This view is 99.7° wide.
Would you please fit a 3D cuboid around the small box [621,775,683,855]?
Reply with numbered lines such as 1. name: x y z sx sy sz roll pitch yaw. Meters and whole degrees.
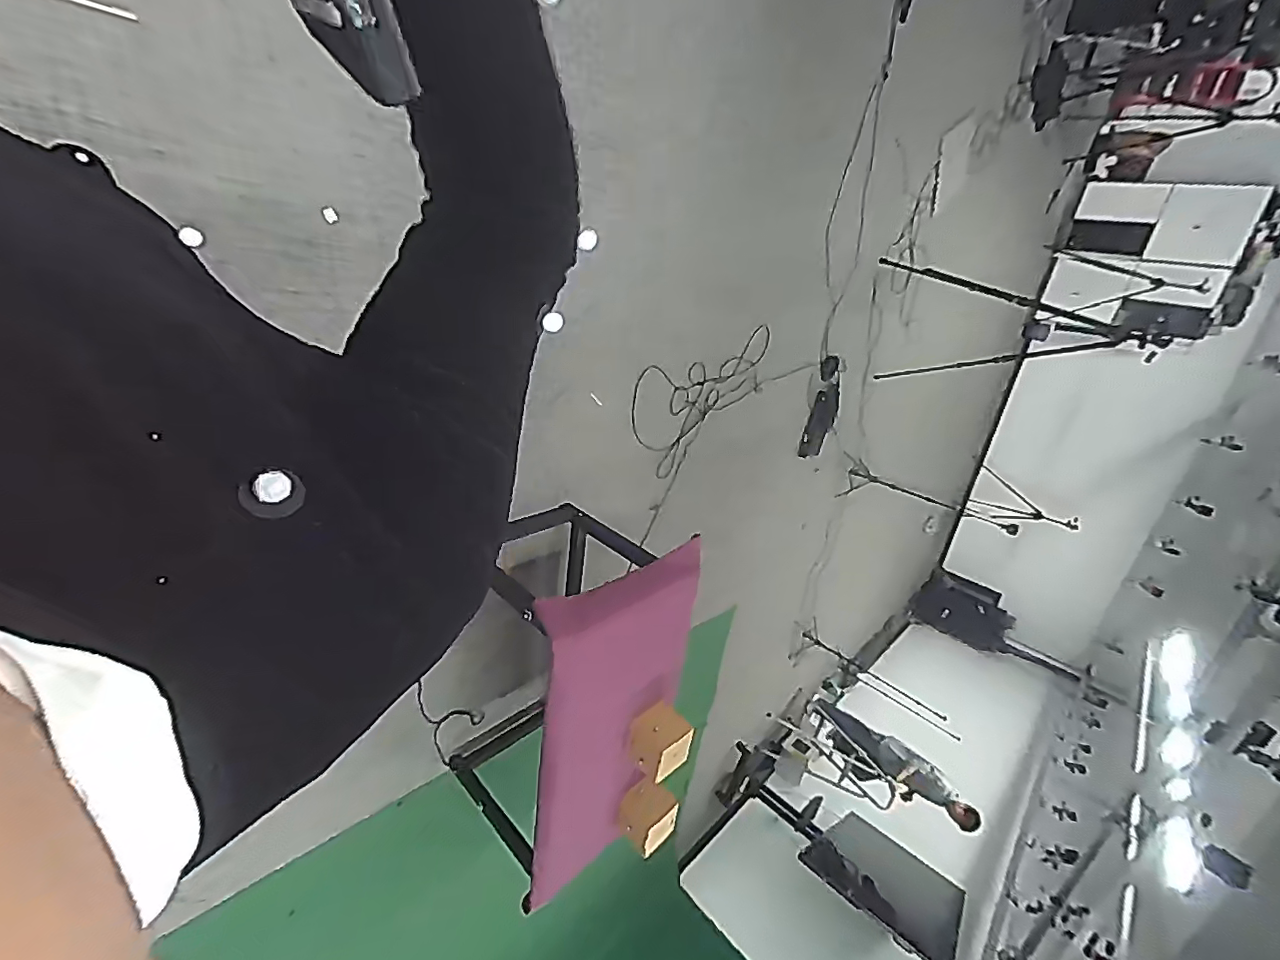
1. small box: 0.043 1.332 2.160 0.179 0.176 0.168 -14 121 -43

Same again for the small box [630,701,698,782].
1. small box: 0.085 0.960 1.998 0.179 0.176 0.168 -12 120 -45
